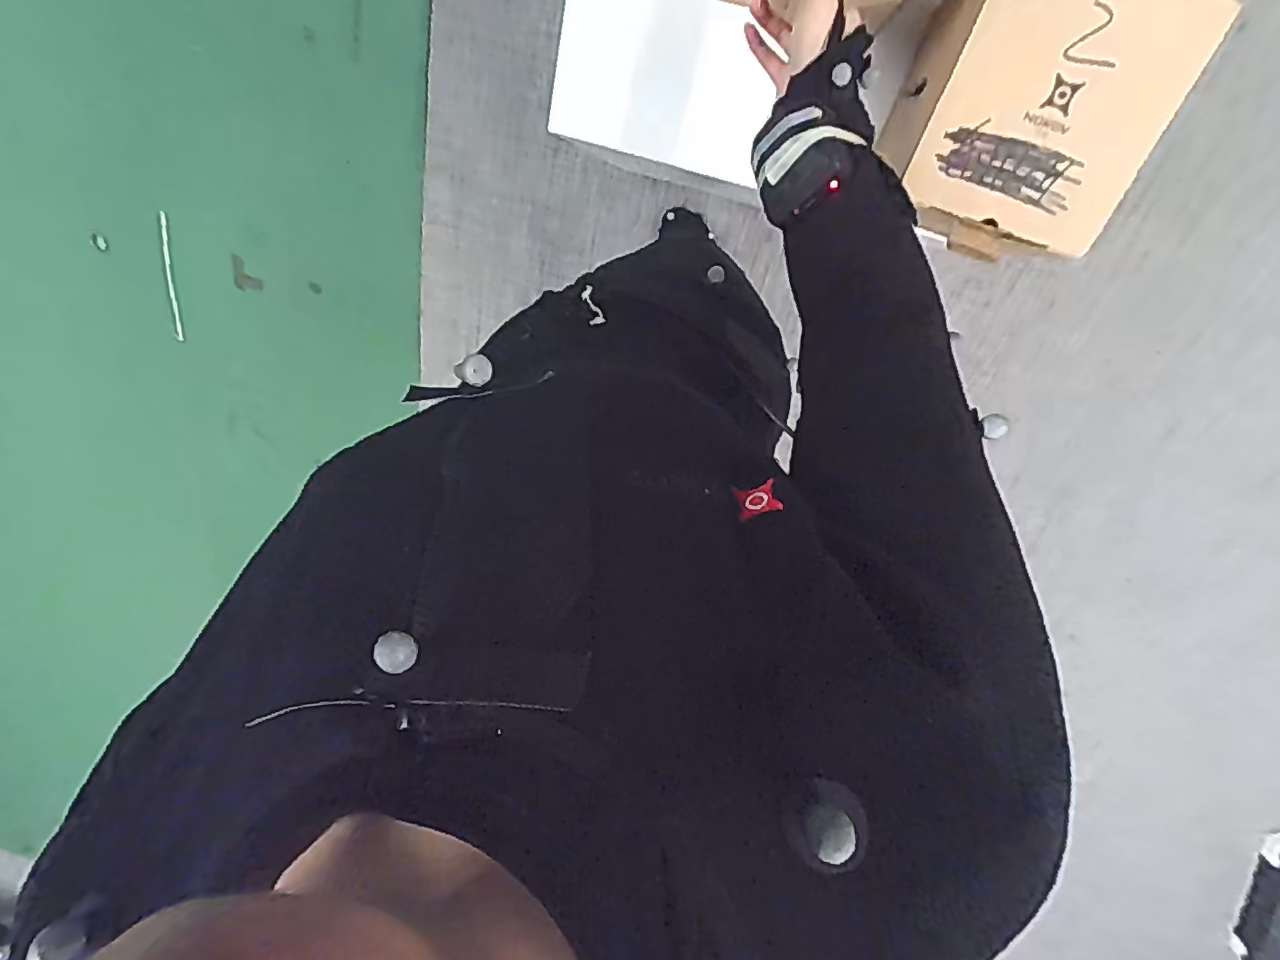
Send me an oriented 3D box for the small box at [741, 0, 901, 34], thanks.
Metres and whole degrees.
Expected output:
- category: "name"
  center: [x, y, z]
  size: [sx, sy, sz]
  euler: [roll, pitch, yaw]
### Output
- category: "small box"
  center: [0.160, -0.493, 0.417]
  size: [0.168, 0.176, 0.179]
  euler: [16, 117, 1]
